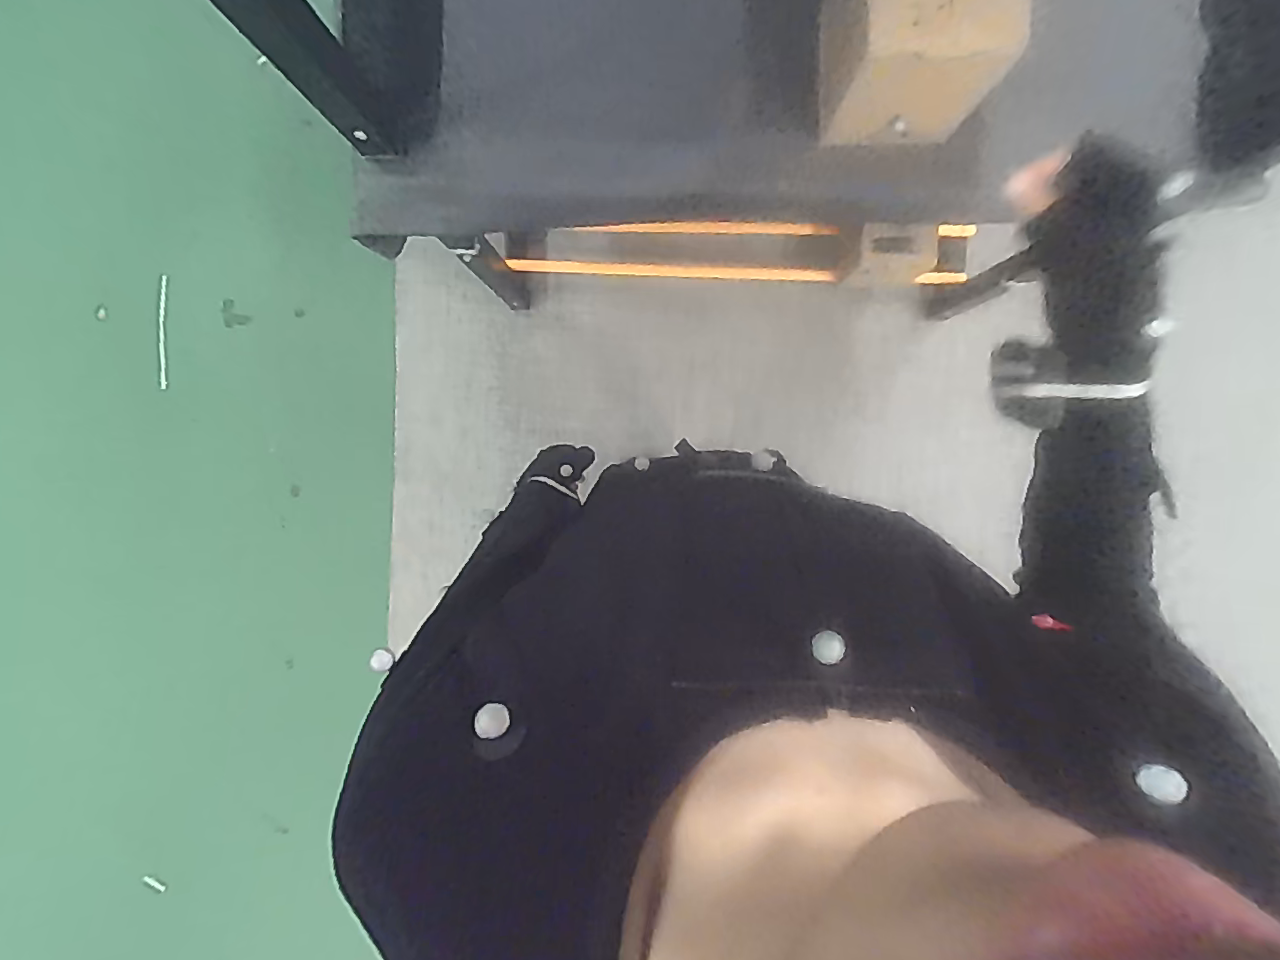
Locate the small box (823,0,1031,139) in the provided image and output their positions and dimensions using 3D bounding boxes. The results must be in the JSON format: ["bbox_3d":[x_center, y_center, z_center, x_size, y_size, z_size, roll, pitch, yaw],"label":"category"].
[{"bbox_3d":[0.322,-0.540,0.637,0.168,0.176,0.179,0,92,2],"label":"small box"}]
